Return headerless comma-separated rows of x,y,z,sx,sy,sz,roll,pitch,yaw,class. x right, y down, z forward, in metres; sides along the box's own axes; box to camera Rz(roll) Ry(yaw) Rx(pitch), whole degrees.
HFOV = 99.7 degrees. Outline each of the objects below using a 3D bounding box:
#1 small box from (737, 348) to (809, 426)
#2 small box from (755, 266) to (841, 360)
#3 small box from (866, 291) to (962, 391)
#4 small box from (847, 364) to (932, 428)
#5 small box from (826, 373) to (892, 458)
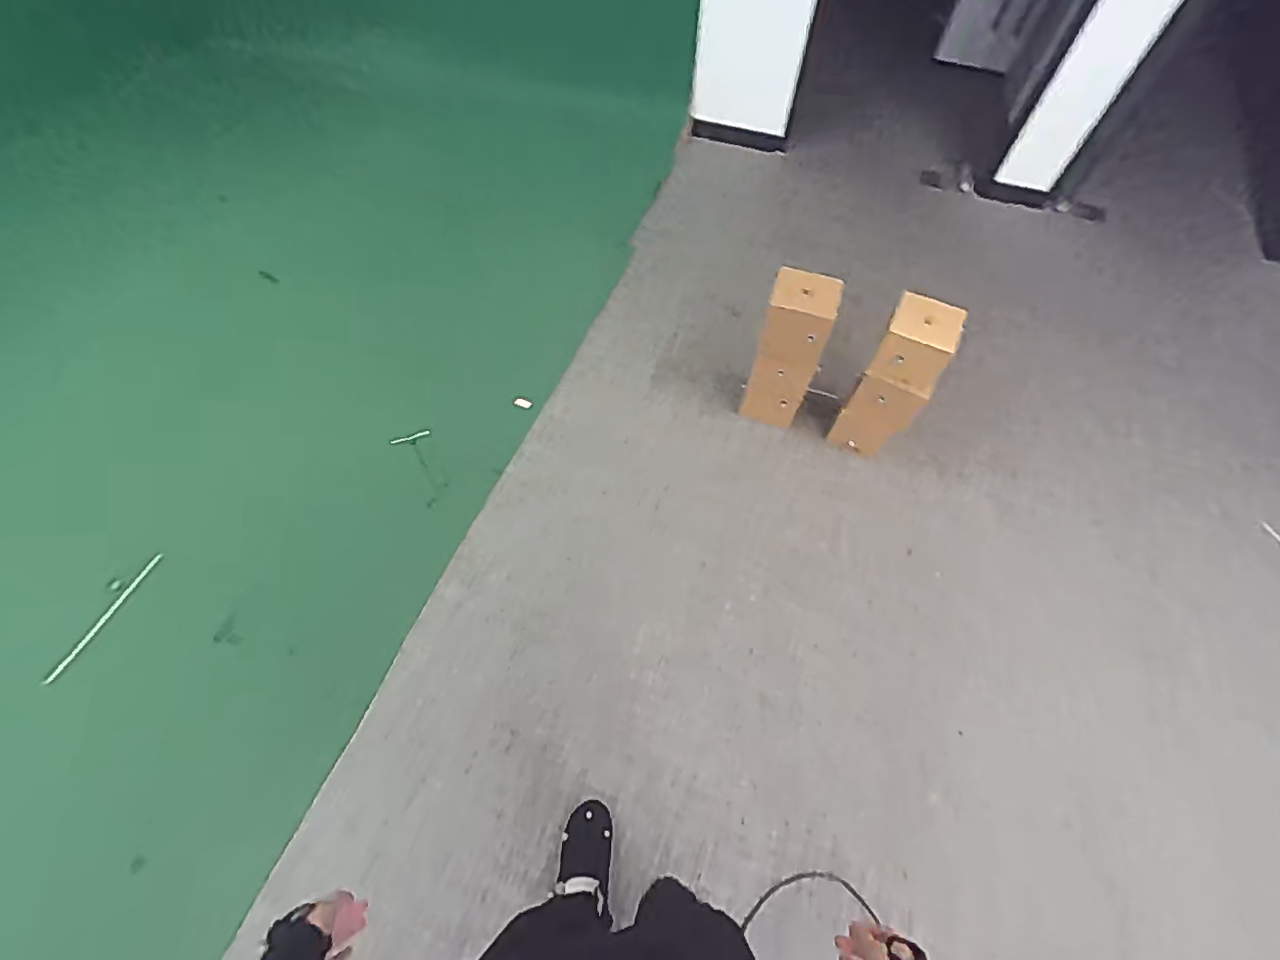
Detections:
0.438,-0.303,1.797,0.179,0.176,0.168,18,60,9,small box
0.437,-0.459,1.507,0.179,0.176,0.168,17,60,9,small box
0.734,-0.372,1.465,0.168,0.176,0.179,24,62,13,small box
0.740,-0.281,1.601,0.179,0.176,0.168,26,63,15,small box
0.724,-0.206,1.747,0.168,0.176,0.179,26,64,14,small box
